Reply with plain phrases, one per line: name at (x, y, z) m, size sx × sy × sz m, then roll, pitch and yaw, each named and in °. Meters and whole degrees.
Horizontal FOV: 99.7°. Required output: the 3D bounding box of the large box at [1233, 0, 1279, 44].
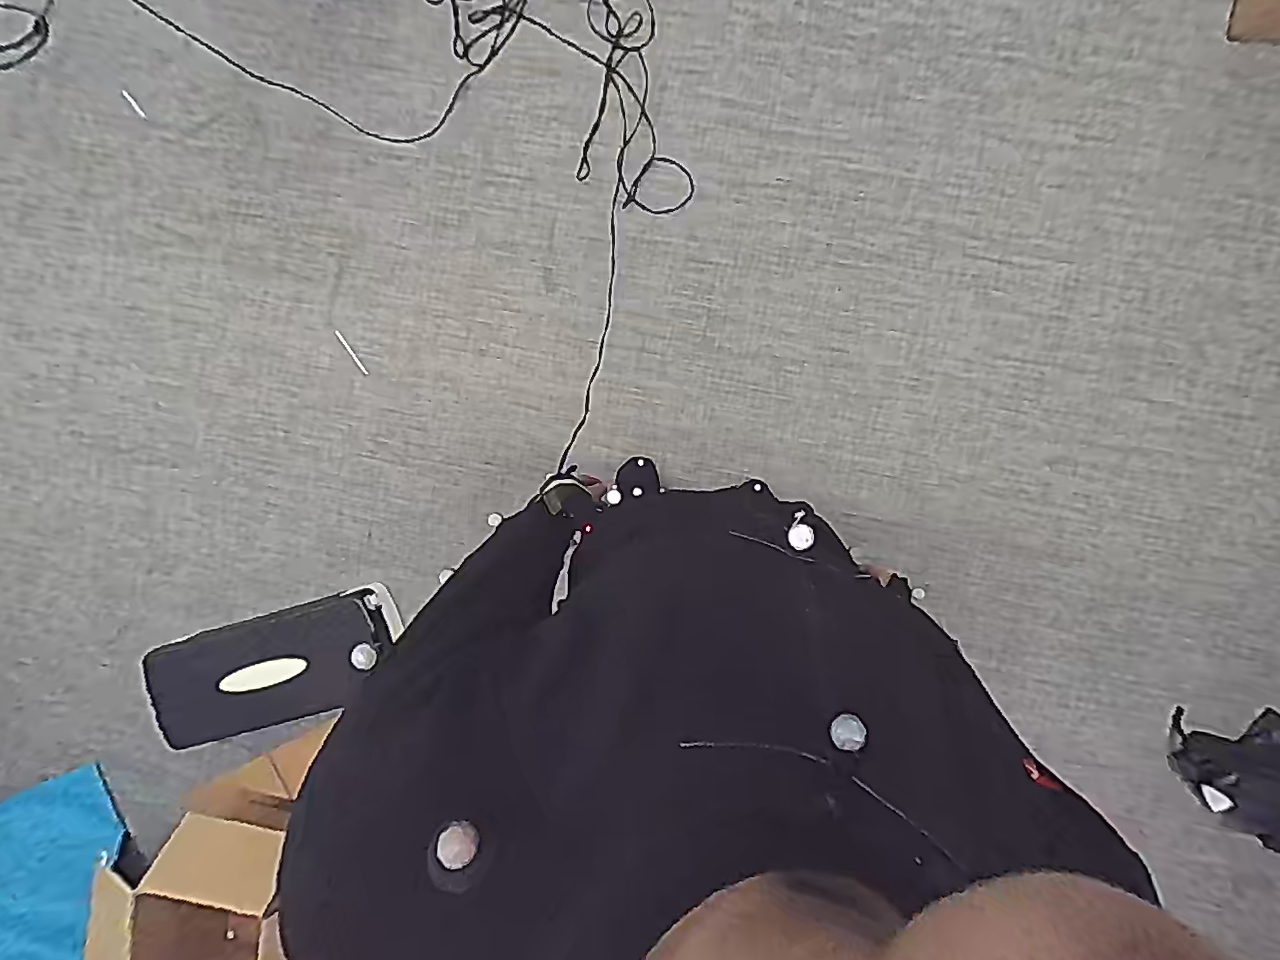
large box at (1.482, -1.151, 1.037) m, size 0.320 × 0.320 × 0.408 m, roll 8°, pitch 95°, yaw 6°
